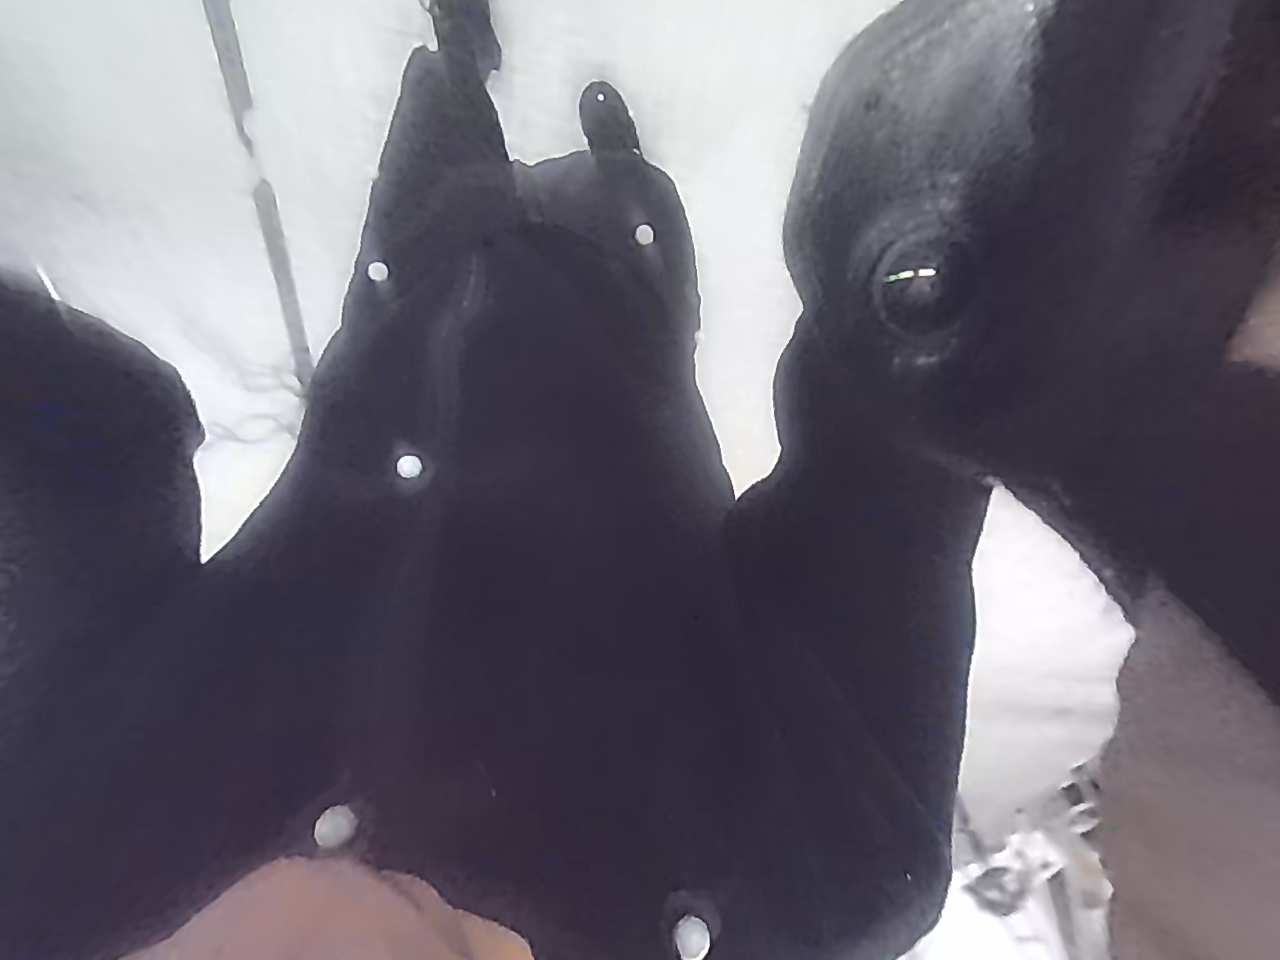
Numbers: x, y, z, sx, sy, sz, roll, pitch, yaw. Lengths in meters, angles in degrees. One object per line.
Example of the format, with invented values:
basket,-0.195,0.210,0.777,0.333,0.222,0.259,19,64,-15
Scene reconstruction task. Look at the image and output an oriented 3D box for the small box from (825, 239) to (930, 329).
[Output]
small box,0.624,-0.529,1.450,0.179,0.176,0.168,4,134,-9
